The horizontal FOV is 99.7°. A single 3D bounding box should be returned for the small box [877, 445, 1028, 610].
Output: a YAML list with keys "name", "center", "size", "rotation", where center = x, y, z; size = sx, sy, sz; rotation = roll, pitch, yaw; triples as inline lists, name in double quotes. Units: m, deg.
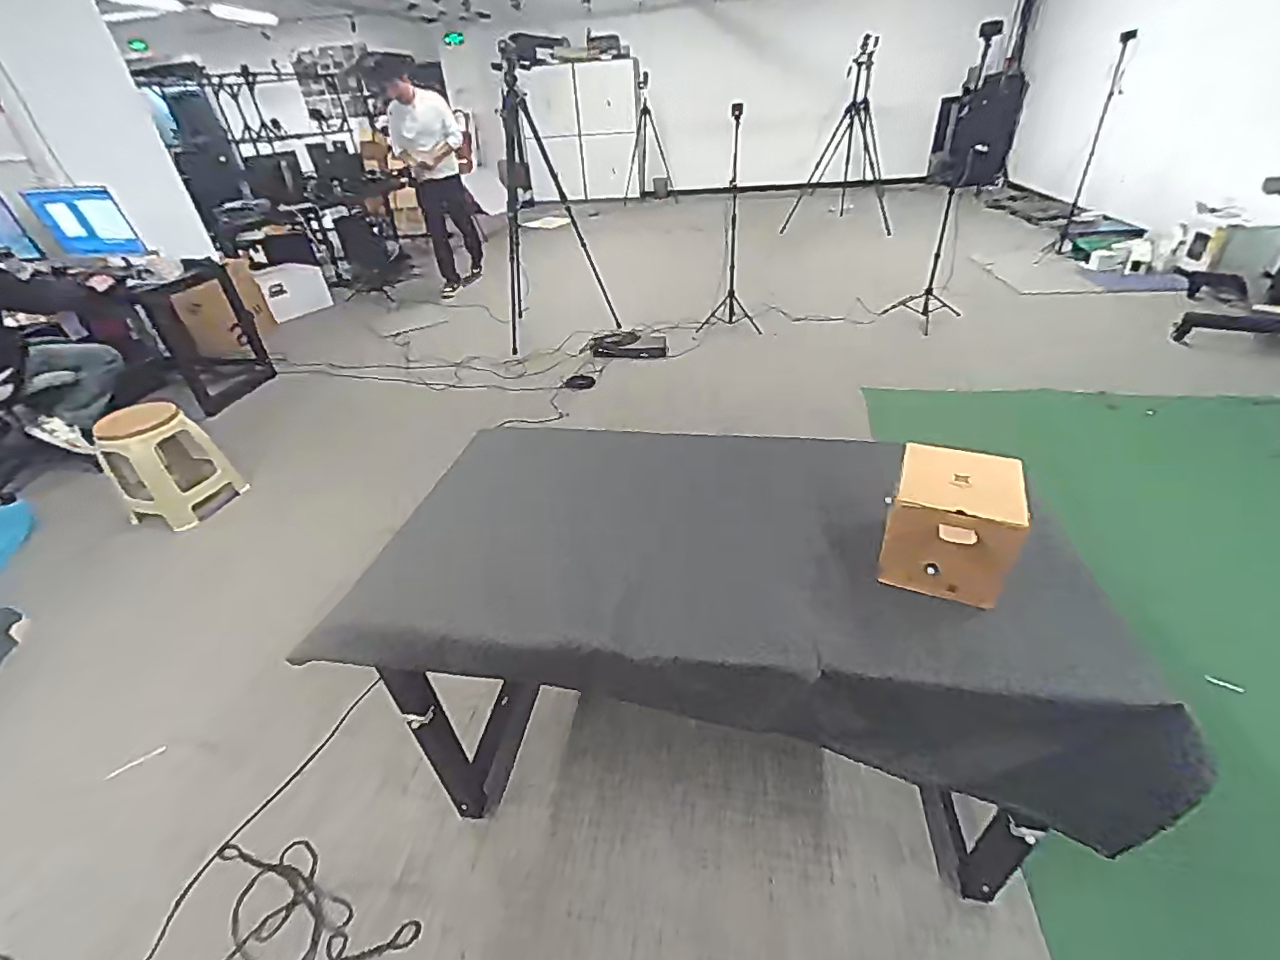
- name: "small box"
  center: [0.486, 0.071, 0.859]
  size: [0.168, 0.176, 0.179]
  rotation: [12, 39, 22]
